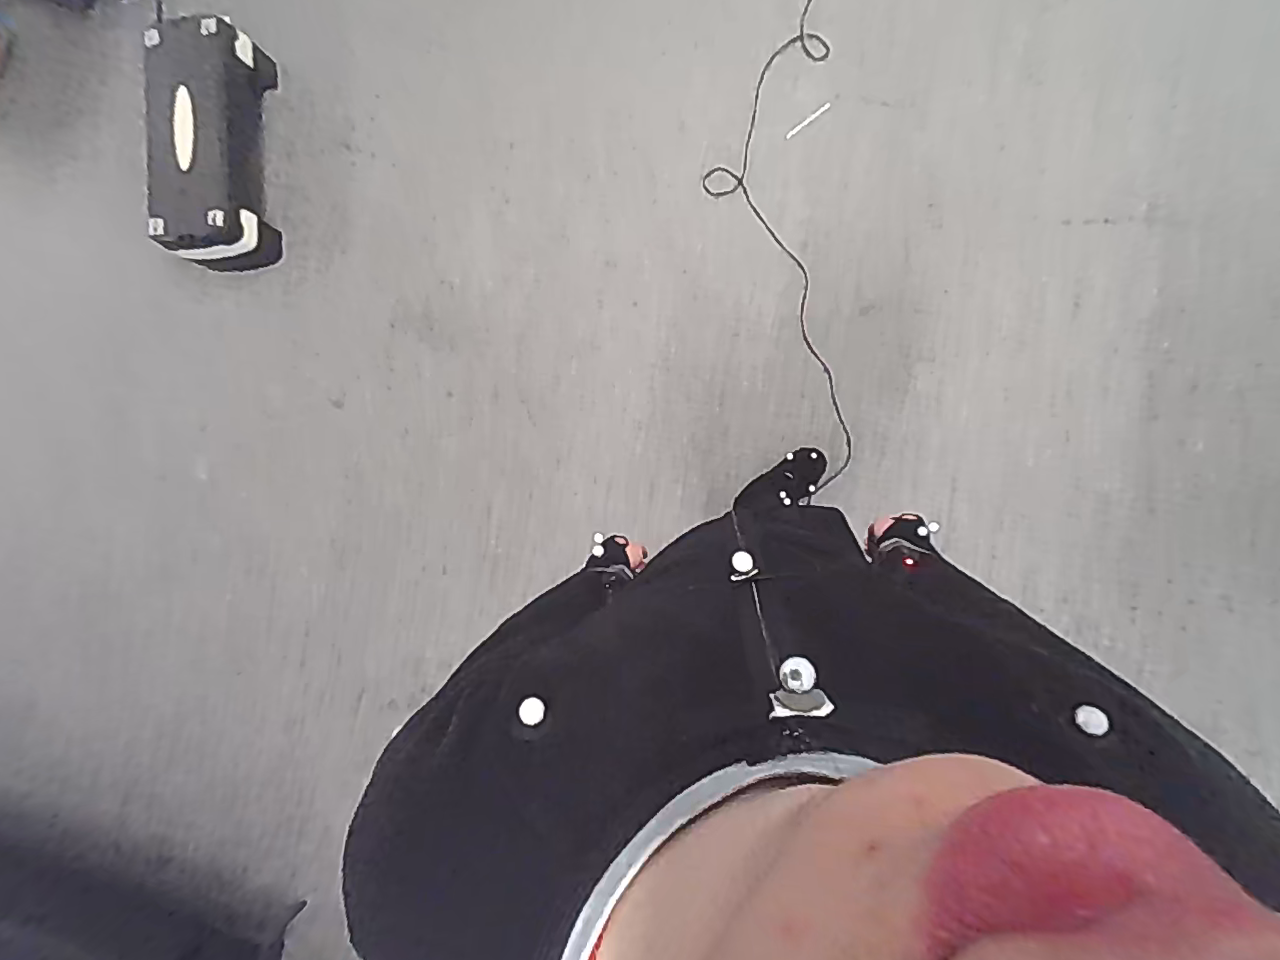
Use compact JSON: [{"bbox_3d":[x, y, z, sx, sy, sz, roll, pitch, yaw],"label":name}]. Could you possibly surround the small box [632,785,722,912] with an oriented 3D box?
[{"bbox_3d":[0.086,0.795,1.176,0.179,0.176,0.168,3,91,10],"label":"small box"}]
